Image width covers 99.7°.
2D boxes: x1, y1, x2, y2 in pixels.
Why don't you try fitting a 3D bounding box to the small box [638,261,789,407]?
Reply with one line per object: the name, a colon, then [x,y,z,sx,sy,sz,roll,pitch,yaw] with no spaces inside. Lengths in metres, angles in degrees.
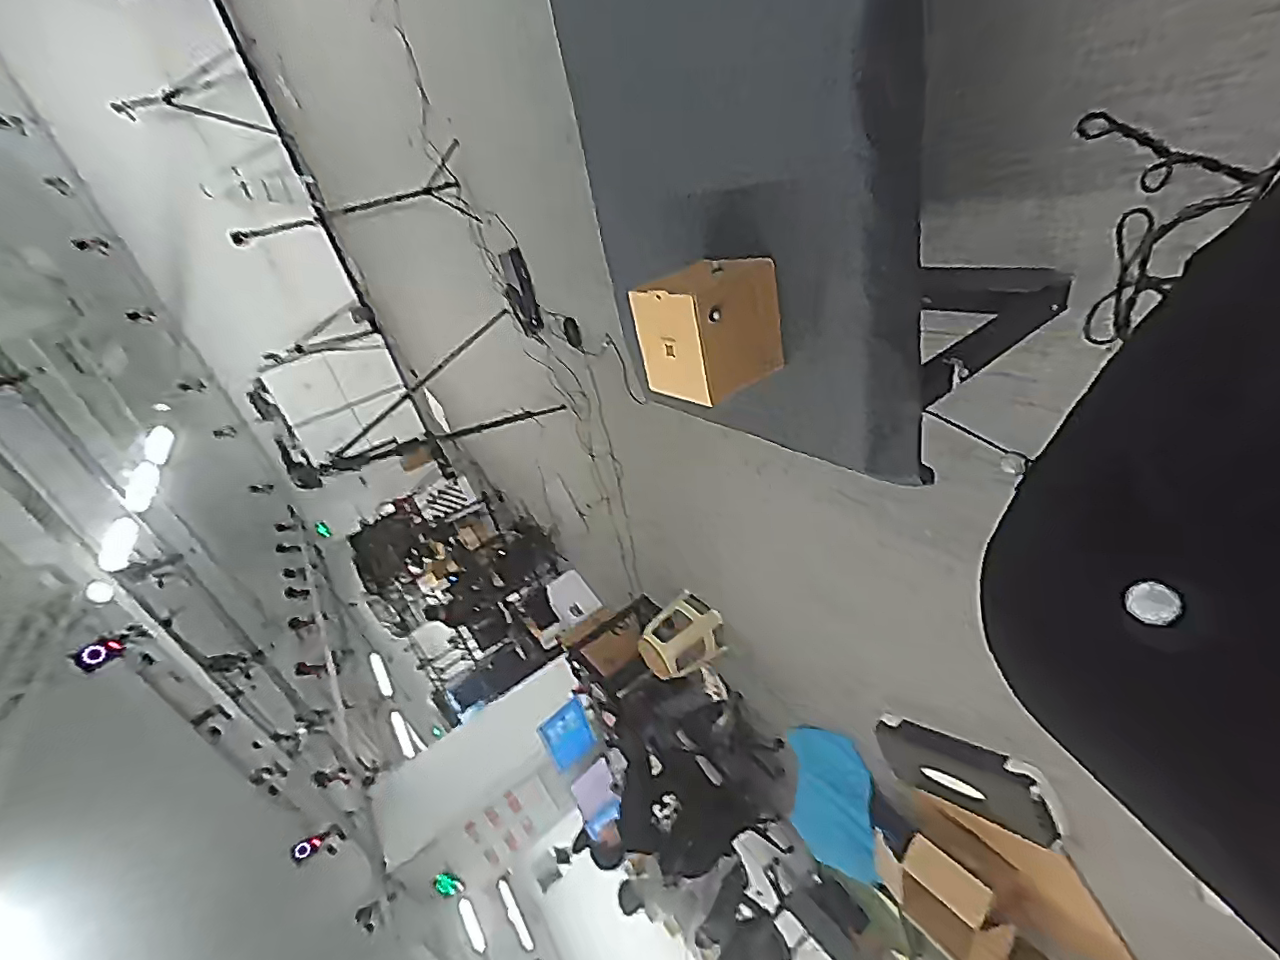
small box: [0.125,-0.243,0.884,0.168,0.176,0.179,28,140,51]
